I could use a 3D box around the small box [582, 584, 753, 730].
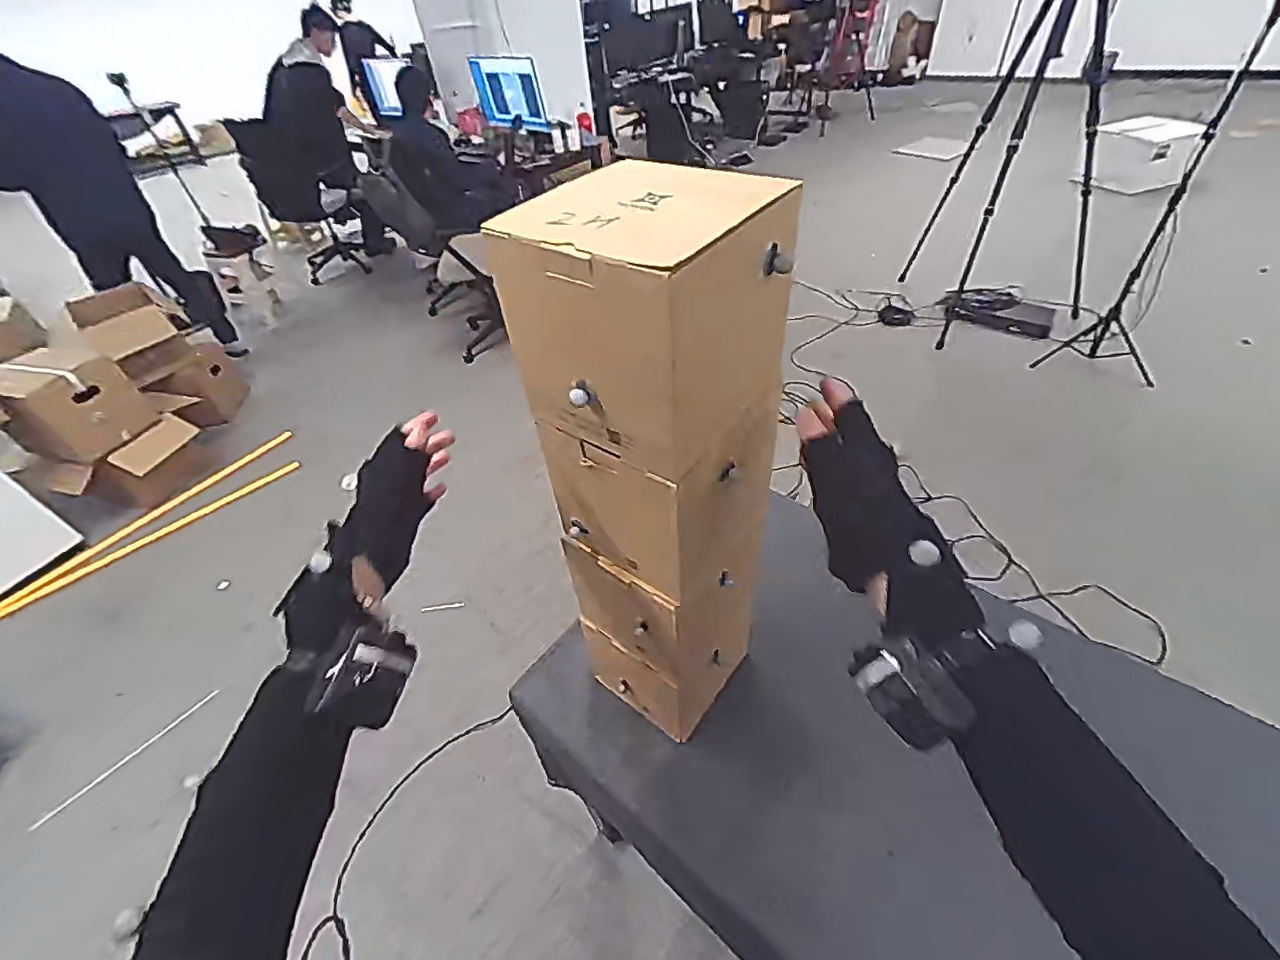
[{"bbox_3d":[0.041,0.214,0.776,0.168,0.176,0.179,27,53,30],"label":"small box"}]

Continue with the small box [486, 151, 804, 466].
[{"bbox_3d":[0.010,-0.144,0.441,0.168,0.176,0.179,26,53,28],"label":"small box"}]

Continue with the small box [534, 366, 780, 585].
[{"bbox_3d":[0.024,-0.026,0.555,0.168,0.176,0.179,27,53,29],"label":"small box"}]

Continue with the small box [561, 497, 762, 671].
[{"bbox_3d":[0.032,0.096,0.664,0.168,0.176,0.179,28,53,30],"label":"small box"}]
